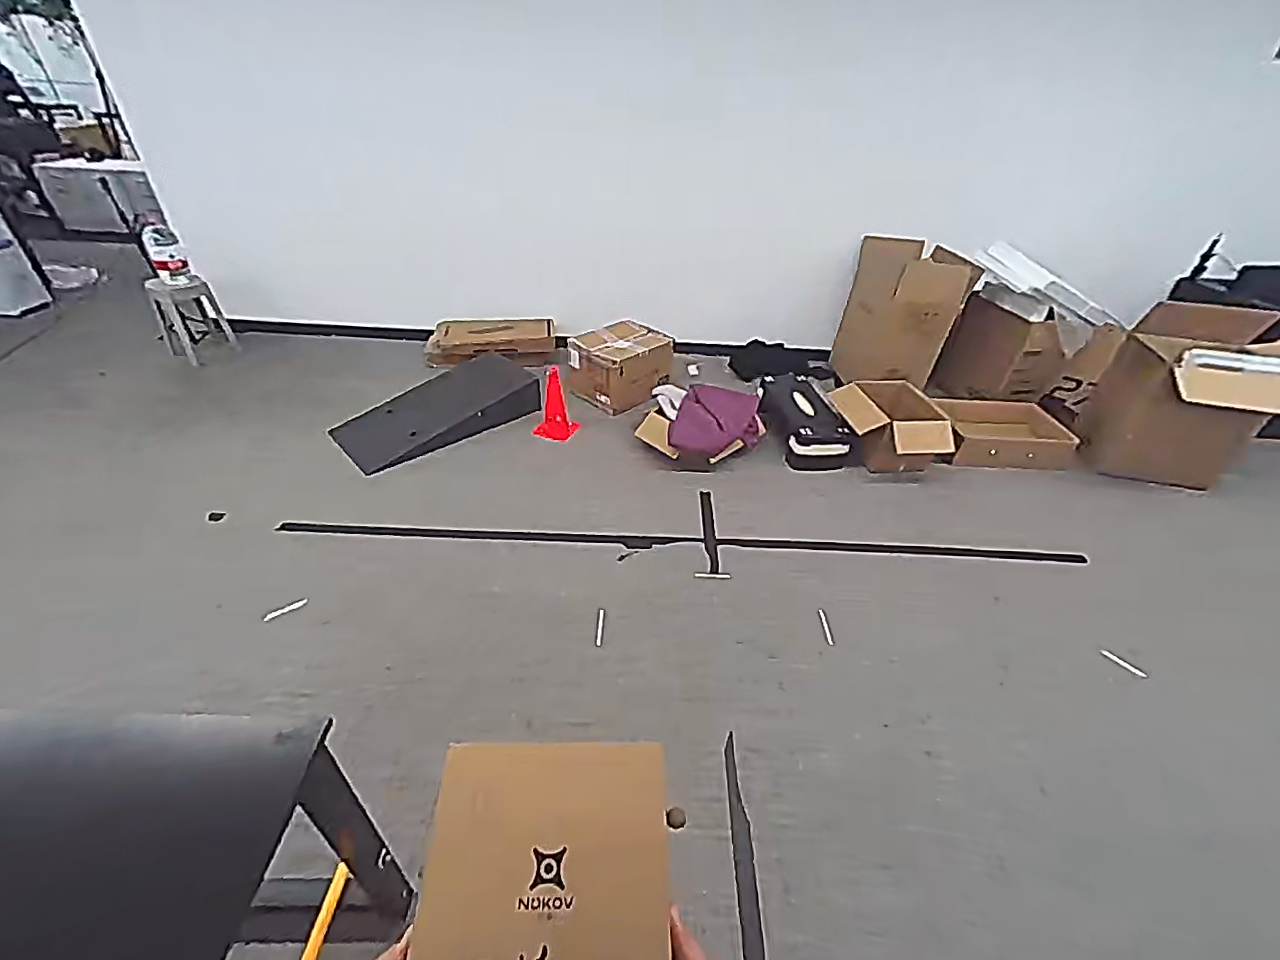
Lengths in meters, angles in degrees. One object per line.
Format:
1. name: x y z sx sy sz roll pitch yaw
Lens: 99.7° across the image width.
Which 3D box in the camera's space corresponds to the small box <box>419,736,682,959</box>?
1. small box: -0.058 0.317 0.424 0.168 0.176 0.179 0 50 -1
